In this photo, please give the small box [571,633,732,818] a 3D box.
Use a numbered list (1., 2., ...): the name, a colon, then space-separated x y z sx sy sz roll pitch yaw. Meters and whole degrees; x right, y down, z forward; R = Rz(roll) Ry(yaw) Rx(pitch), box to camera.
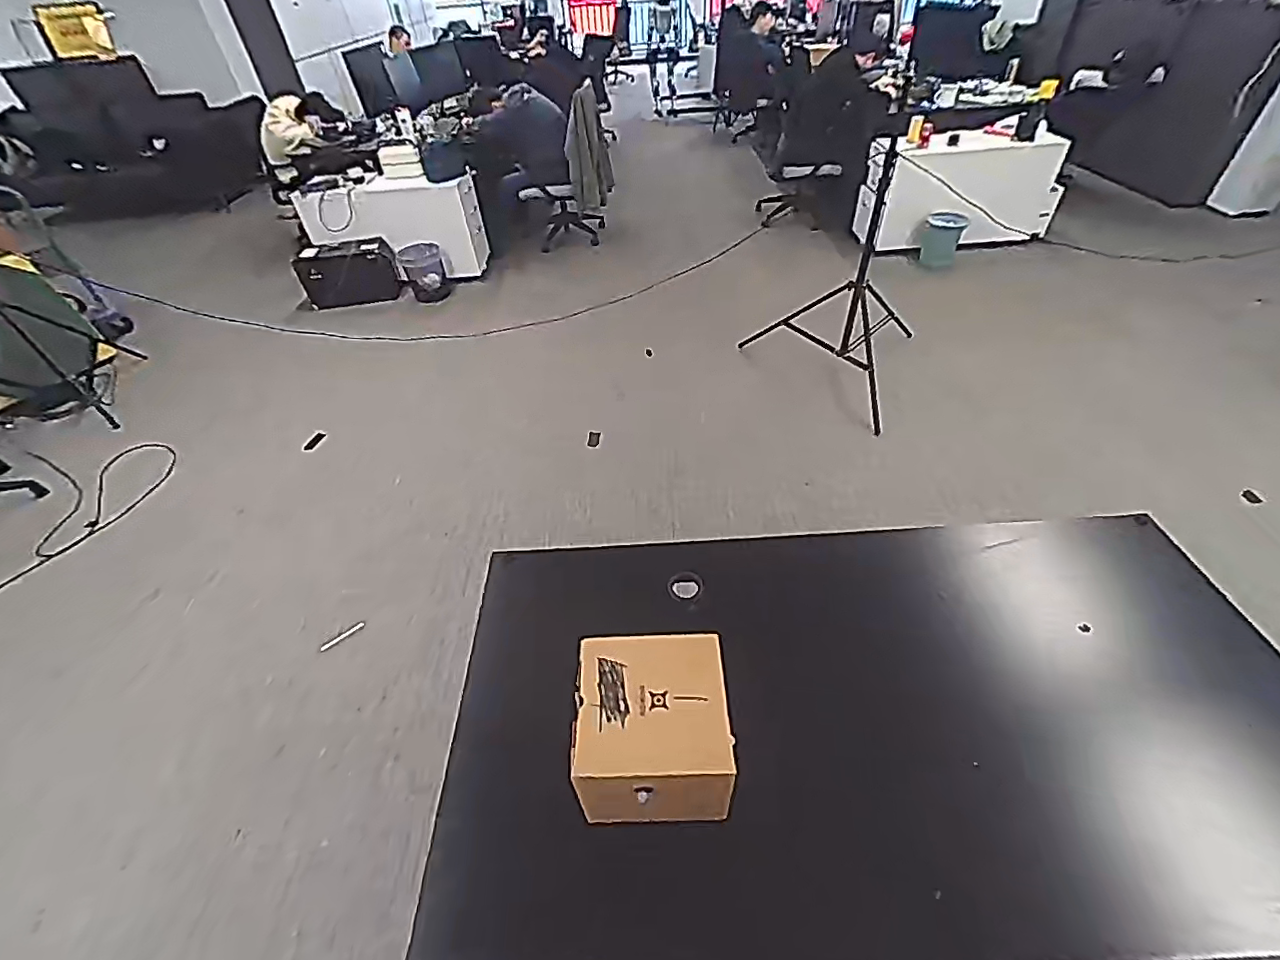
1. small box: 0.017 0.313 0.687 0.179 0.176 0.168 -2 44 1
